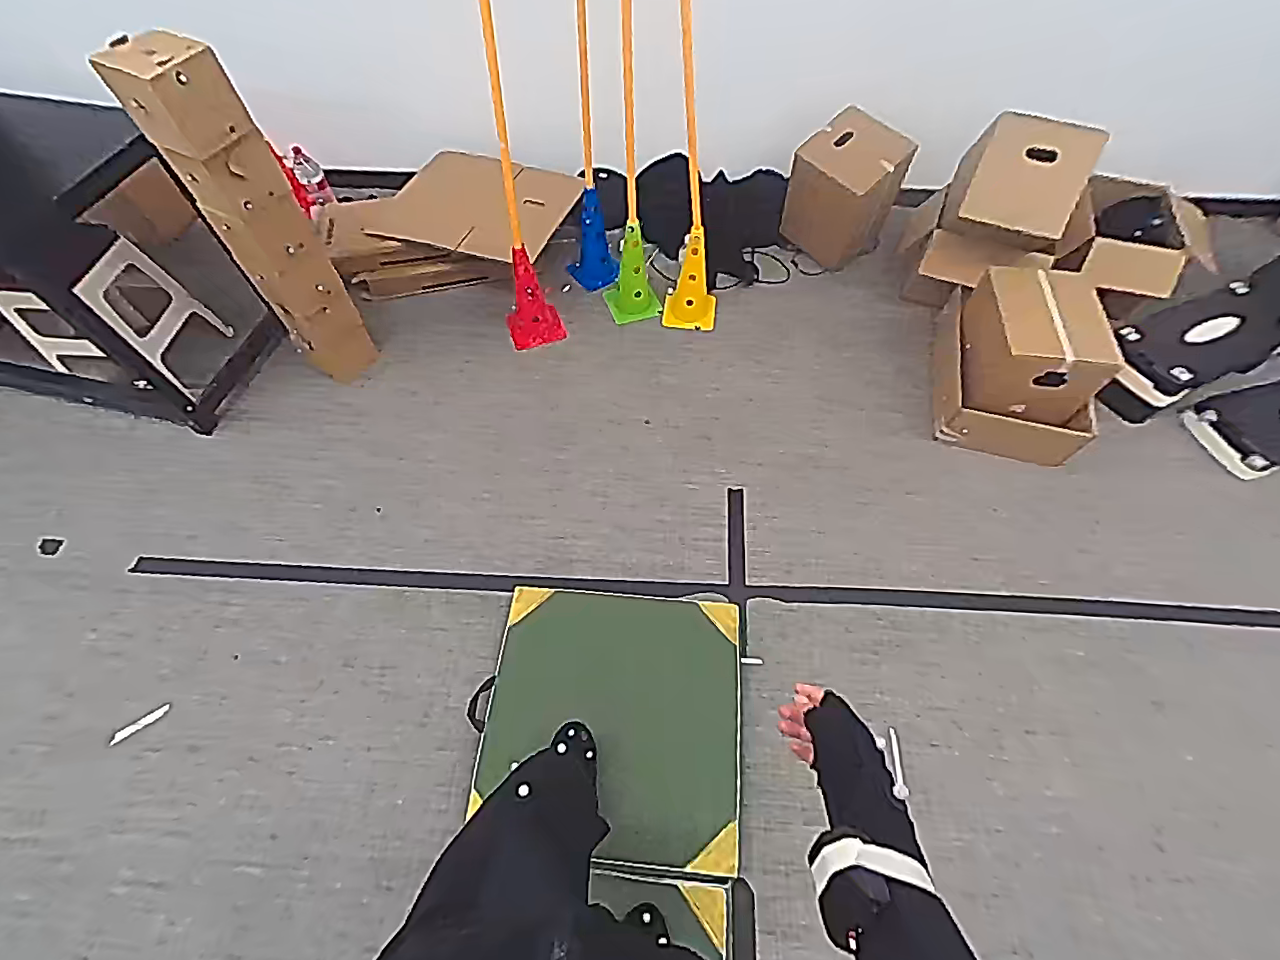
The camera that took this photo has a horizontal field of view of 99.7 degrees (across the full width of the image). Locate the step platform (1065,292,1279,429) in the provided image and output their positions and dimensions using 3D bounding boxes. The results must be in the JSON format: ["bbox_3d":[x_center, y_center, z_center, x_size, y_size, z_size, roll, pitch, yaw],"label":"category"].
[{"bbox_3d":[1.902,-0.433,1.918,0.684,0.204,0.286,-22,62,-12],"label":"step platform"}]
